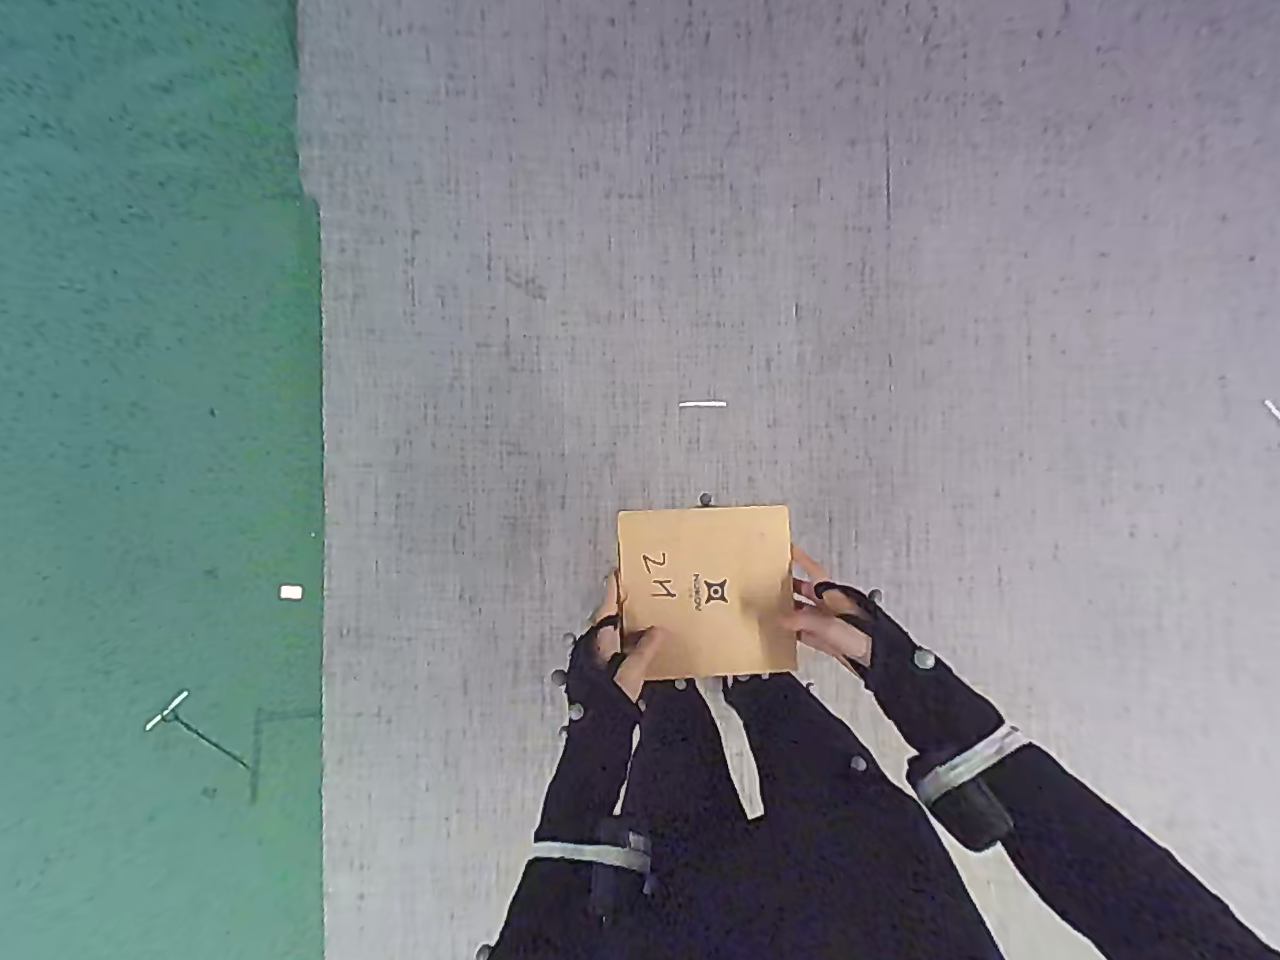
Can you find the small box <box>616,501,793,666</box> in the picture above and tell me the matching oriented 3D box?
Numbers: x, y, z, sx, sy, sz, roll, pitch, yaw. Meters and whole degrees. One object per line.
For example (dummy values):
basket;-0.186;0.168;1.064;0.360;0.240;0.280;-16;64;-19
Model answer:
small box;0.062;0.109;0.627;0.179;0.176;0.168;-2;85;-3
